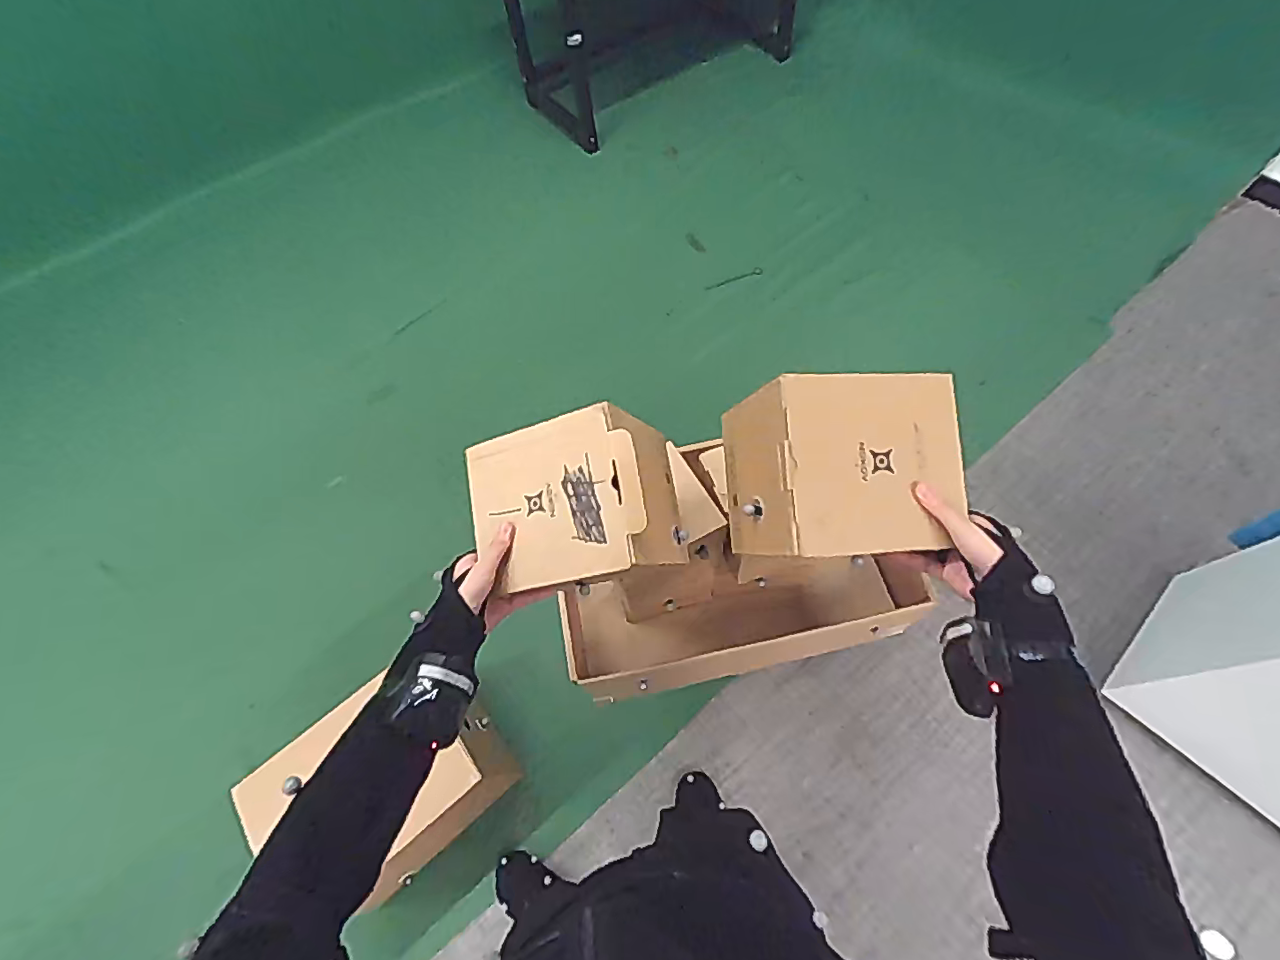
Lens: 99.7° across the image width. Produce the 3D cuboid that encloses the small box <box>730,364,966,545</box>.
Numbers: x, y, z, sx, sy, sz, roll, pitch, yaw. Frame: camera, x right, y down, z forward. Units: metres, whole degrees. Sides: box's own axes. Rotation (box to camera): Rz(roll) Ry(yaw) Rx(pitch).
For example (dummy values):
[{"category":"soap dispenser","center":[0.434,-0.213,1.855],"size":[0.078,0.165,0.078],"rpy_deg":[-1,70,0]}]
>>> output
[{"category":"small box","center":[0.201,-0.017,0.574],"size":[0.179,0.176,0.168],"rpy_deg":[-2,84,-10]}]

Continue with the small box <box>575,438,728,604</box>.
[{"category":"small box","center":[0.017,0.070,0.857],"size":[0.179,0.176,0.168],"rpy_deg":[-27,62,-10]}]
